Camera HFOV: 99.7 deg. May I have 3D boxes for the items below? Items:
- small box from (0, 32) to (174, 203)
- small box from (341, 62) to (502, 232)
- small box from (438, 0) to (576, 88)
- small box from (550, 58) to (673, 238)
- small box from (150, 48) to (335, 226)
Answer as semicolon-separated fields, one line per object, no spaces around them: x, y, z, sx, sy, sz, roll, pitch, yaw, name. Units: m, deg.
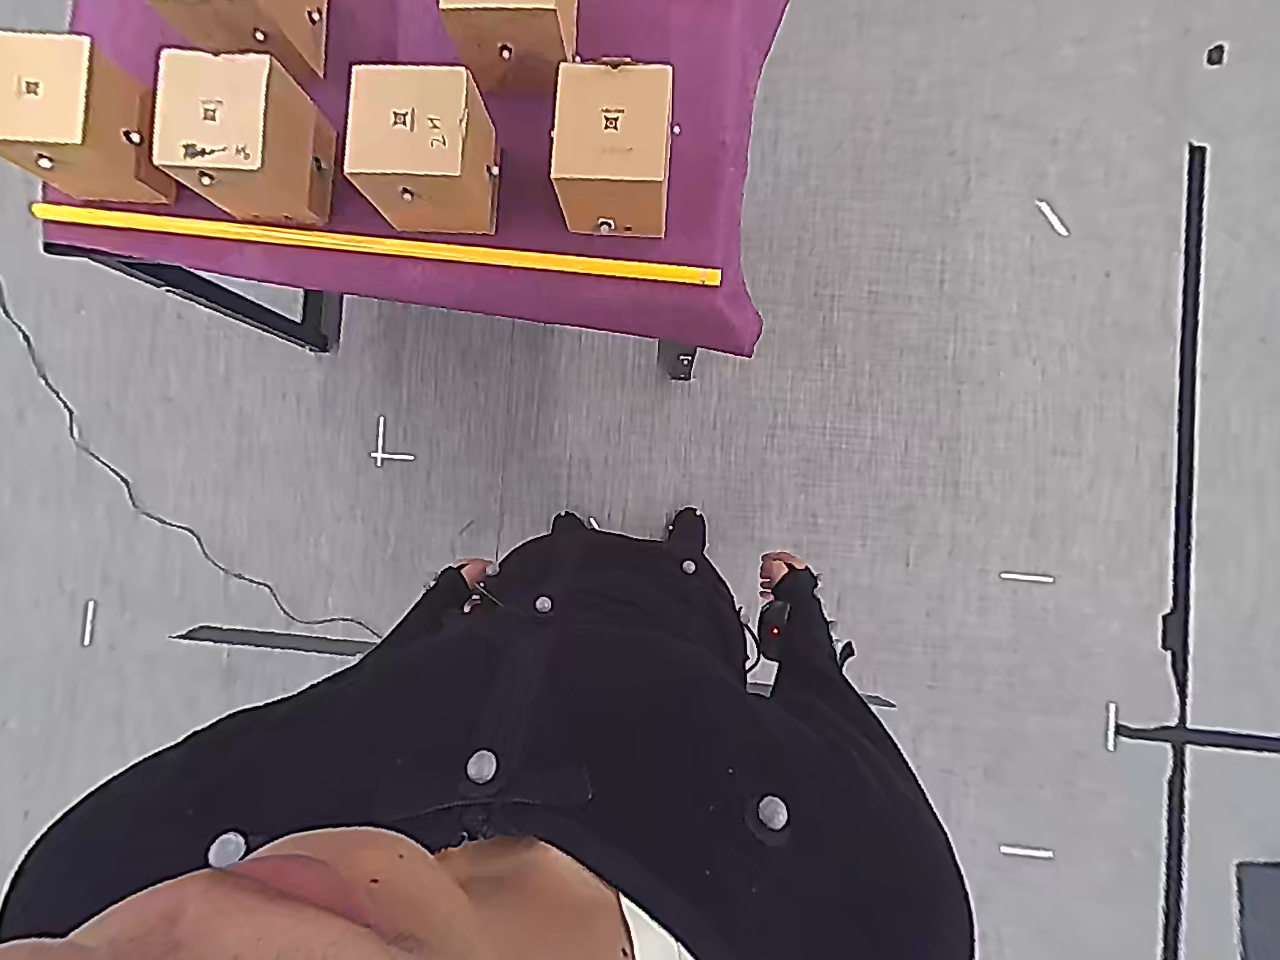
-0.898;-0.574;0.876;0.179;0.176;0.168;4;88;2;small box
-0.335;-0.514;0.856;0.179;0.176;0.168;4;87;2;small box
-0.200;-0.761;0.858;0.179;0.176;0.168;2;90;3;small box
-0.037;-0.508;0.845;0.168;0.176;0.179;4;87;4;small box
-0.621;-0.539;0.867;0.168;0.176;0.179;5;88;3;small box
